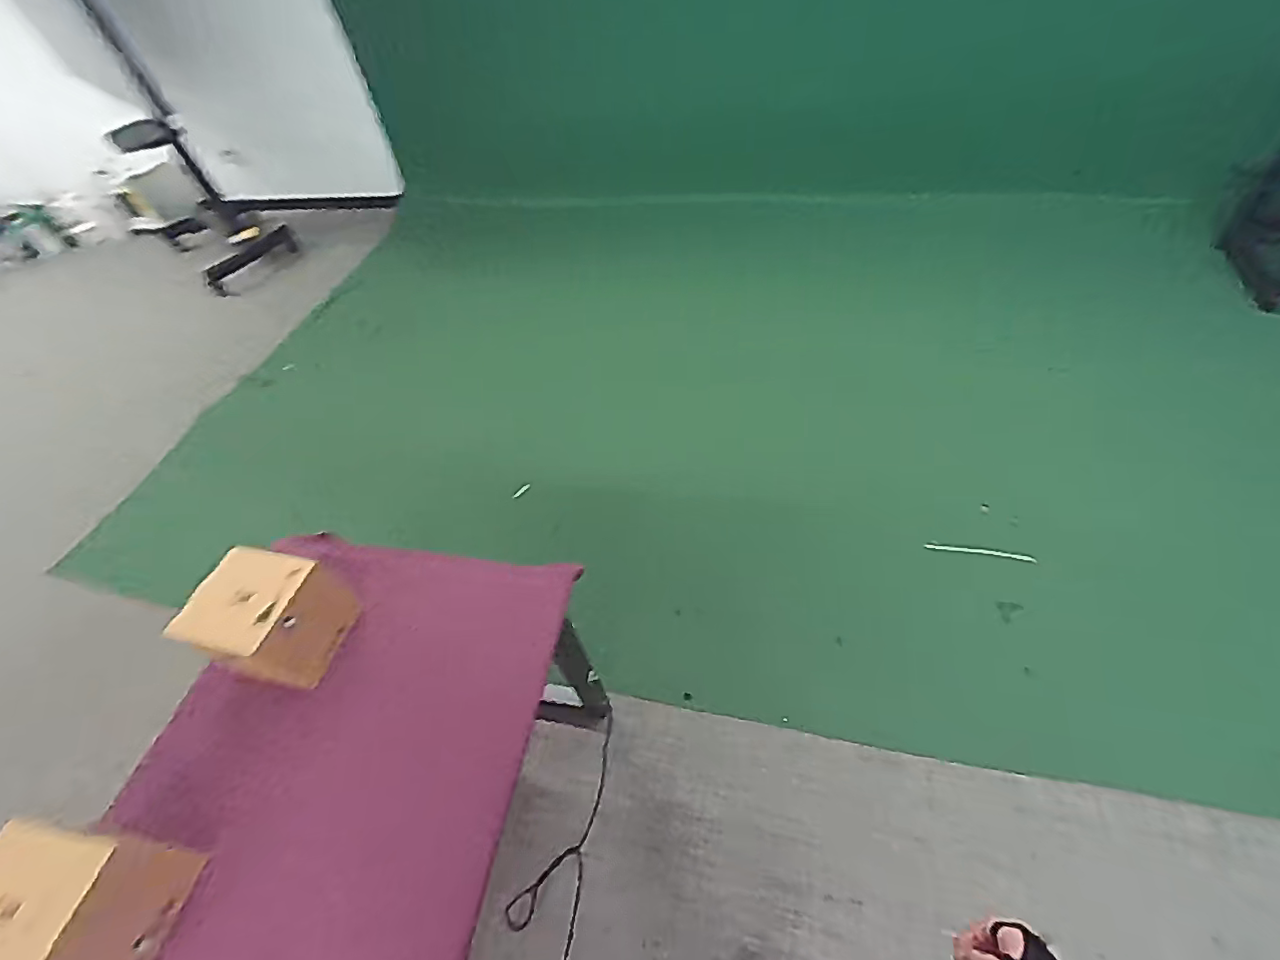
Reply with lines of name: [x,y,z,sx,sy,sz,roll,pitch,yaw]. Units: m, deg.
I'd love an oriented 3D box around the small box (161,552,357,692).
small box: [-0.638,0.247,0.930,0.179,0.176,0.168,7,53,14]

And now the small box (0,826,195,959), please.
small box: [-0.739,0.560,0.684,0.179,0.176,0.168,5,52,11]
